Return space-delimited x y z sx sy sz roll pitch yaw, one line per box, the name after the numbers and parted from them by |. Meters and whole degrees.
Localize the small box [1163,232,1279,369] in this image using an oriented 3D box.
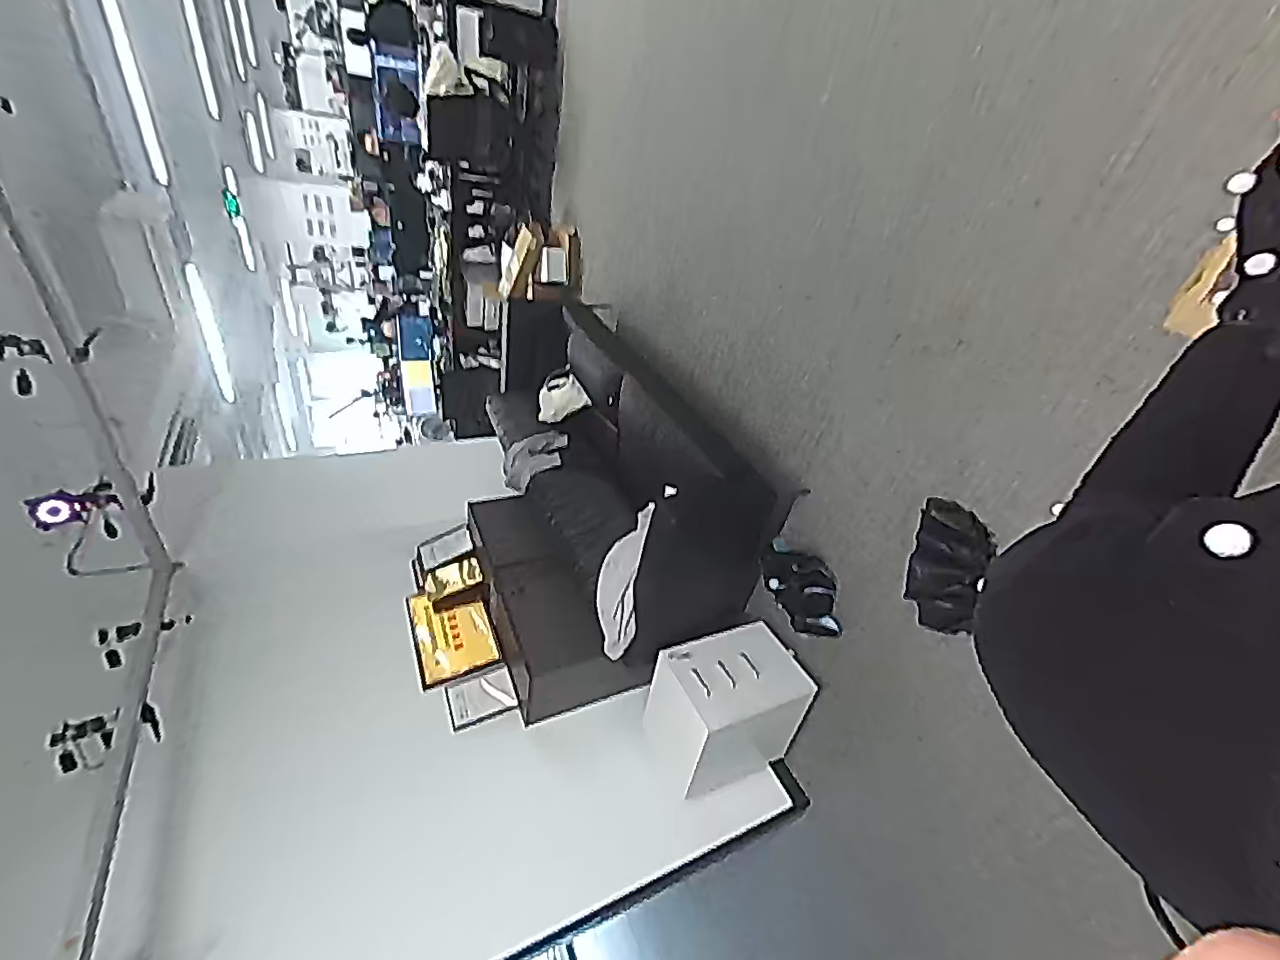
1.049 -0.297 0.892 0.179 0.176 0.168 52 143 44 | small box
